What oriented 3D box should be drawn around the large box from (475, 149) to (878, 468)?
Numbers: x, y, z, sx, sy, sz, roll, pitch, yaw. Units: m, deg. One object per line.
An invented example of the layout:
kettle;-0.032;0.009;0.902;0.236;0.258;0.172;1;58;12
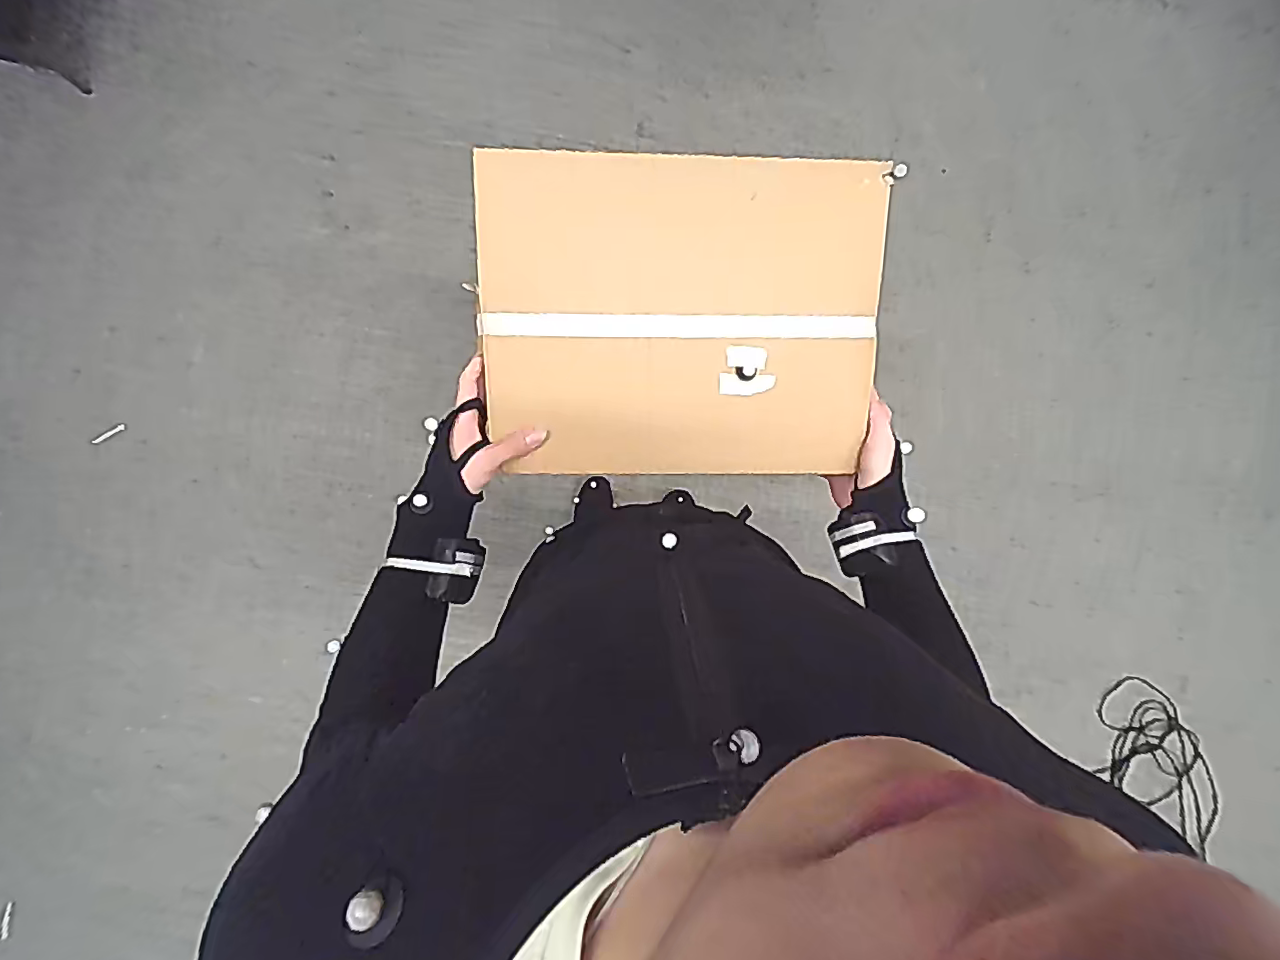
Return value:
large box;0.029;-0.201;0.702;0.408;0.320;0.320;-1;104;-4
